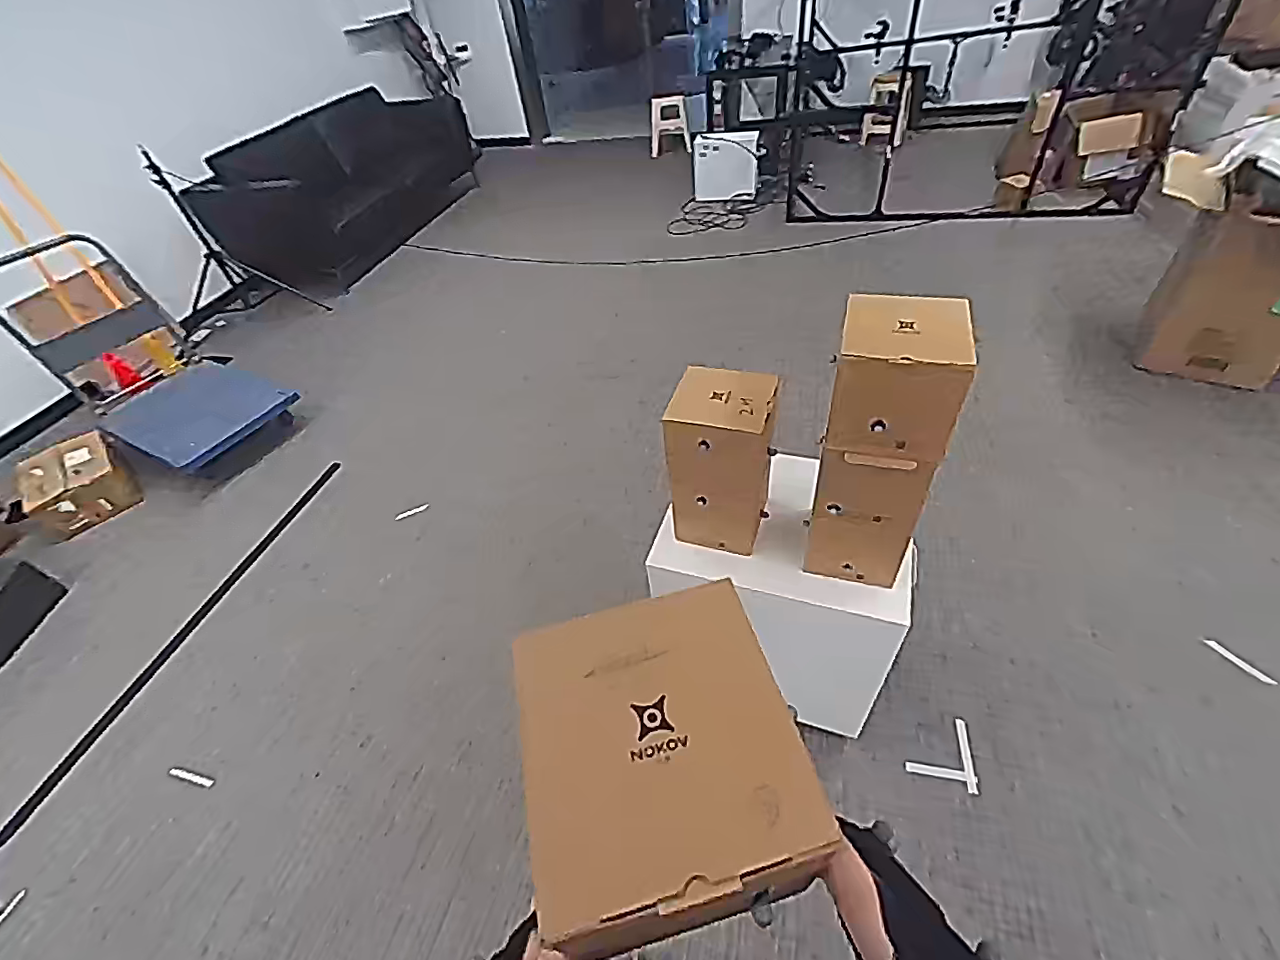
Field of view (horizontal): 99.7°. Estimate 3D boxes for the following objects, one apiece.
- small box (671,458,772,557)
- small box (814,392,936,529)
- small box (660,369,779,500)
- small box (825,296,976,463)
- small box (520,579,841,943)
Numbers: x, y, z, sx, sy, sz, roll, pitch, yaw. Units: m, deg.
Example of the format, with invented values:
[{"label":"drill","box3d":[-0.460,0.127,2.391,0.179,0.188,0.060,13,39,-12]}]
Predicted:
[{"label":"small box","box3d":[0.171,0.029,1.122,0.168,0.176,0.179,11,47,19]},{"label":"small box","box3d":[0.395,-0.039,0.922,0.168,0.176,0.179,9,47,18]},{"label":"small box","box3d":[0.151,-0.084,1.004,0.179,0.176,0.168,11,49,19]},{"label":"small box","box3d":[0.377,-0.151,0.806,0.168,0.176,0.179,9,48,17]},{"label":"small box","box3d":[0.019,0.206,0.393,0.168,0.176,0.179,-13,46,-6]}]
